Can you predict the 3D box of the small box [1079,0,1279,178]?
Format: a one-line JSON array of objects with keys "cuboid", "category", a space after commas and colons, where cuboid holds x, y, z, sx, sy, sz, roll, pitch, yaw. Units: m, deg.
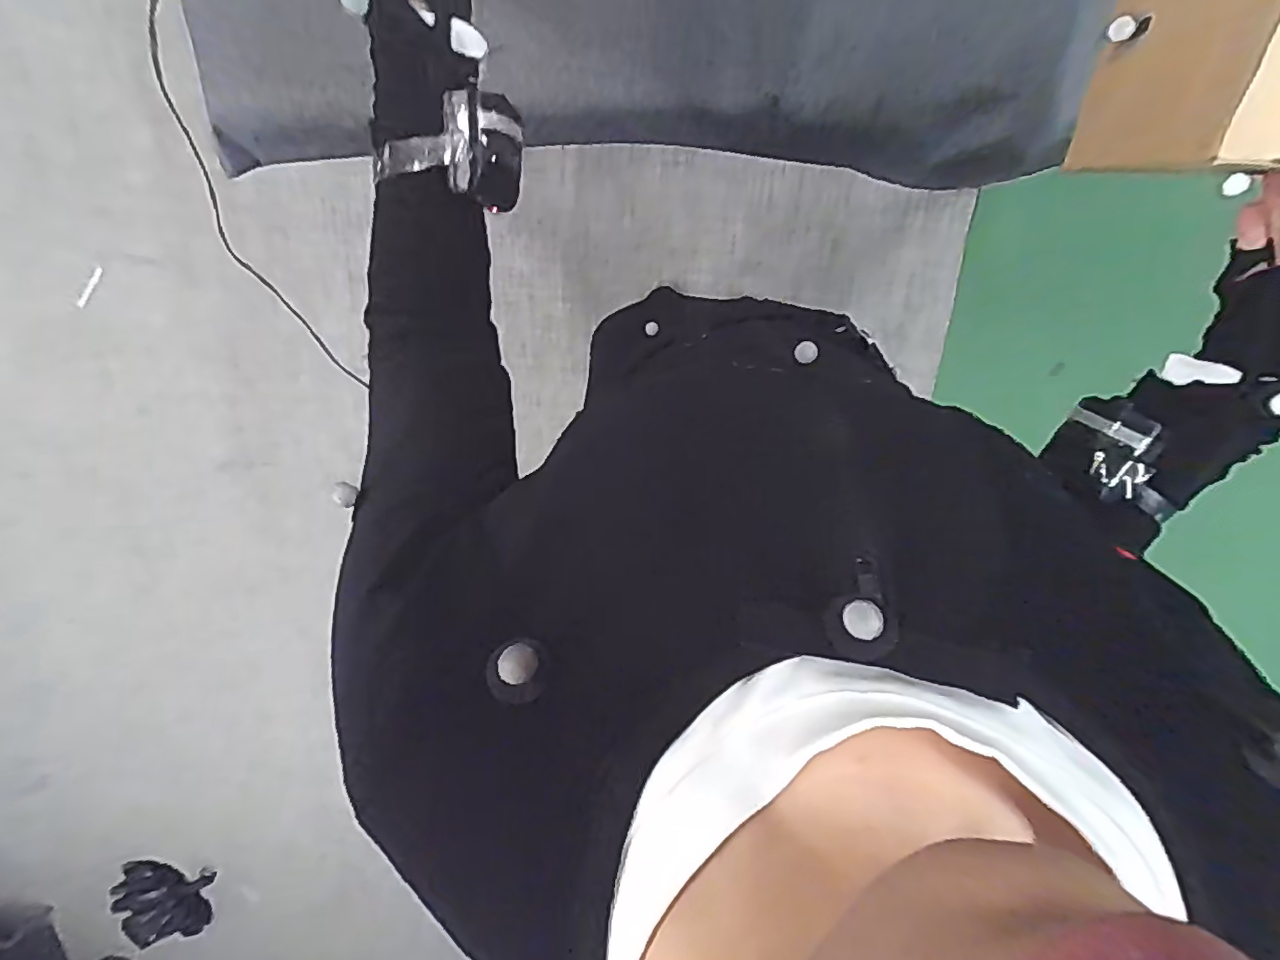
[{"cuboid": [0.423, -0.287, 0.331, 0.168, 0.176, 0.179, 5, 120, 6], "category": "small box"}]
